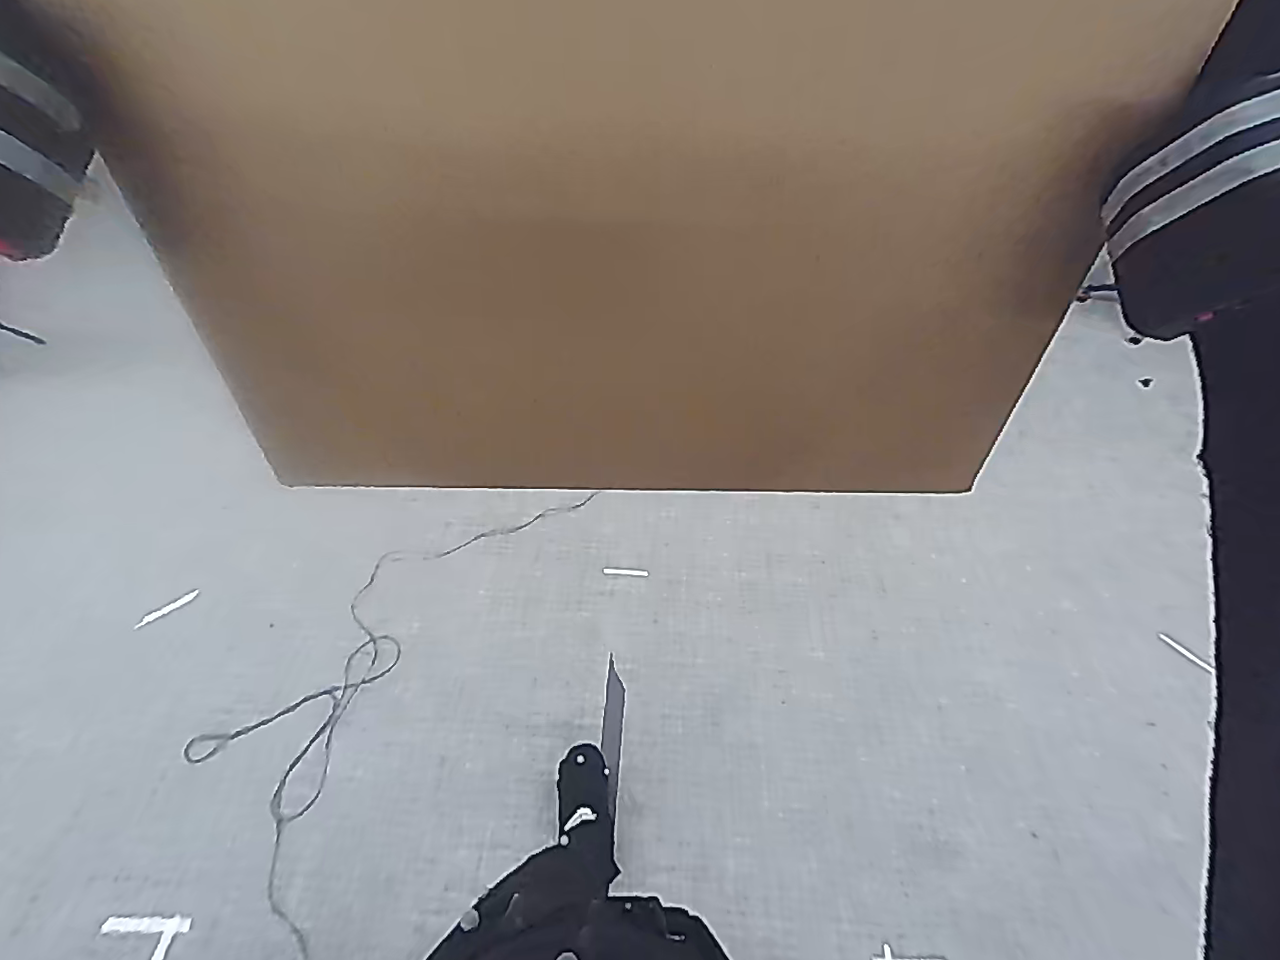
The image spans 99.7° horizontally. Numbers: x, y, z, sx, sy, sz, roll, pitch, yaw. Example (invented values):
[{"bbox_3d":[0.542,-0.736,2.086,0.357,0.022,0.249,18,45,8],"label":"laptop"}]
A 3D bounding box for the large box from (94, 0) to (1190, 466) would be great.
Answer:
[{"bbox_3d":[-0.003,-0.219,0.343,0.408,0.320,0.320,1,40,-2],"label":"large box"}]
